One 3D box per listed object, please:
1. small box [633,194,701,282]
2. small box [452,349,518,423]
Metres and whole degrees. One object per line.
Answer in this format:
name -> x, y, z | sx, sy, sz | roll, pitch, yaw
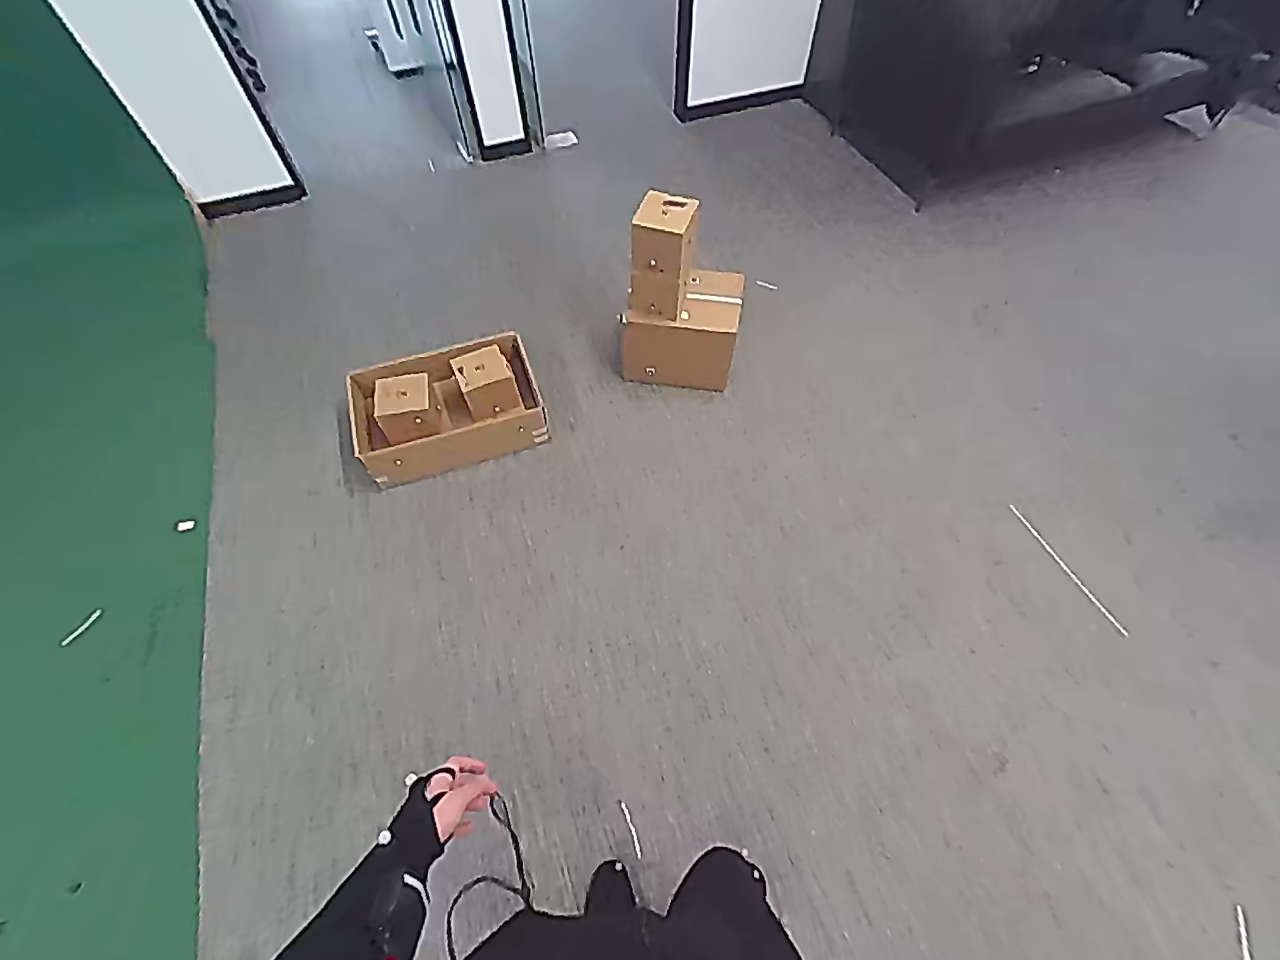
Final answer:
small box -> 0.081, -0.757, 1.694 | 0.168, 0.176, 0.179 | 17, 61, 10
small box -> -0.546, -0.333, 1.932 | 0.179, 0.176, 0.168 | -22, 61, -13
